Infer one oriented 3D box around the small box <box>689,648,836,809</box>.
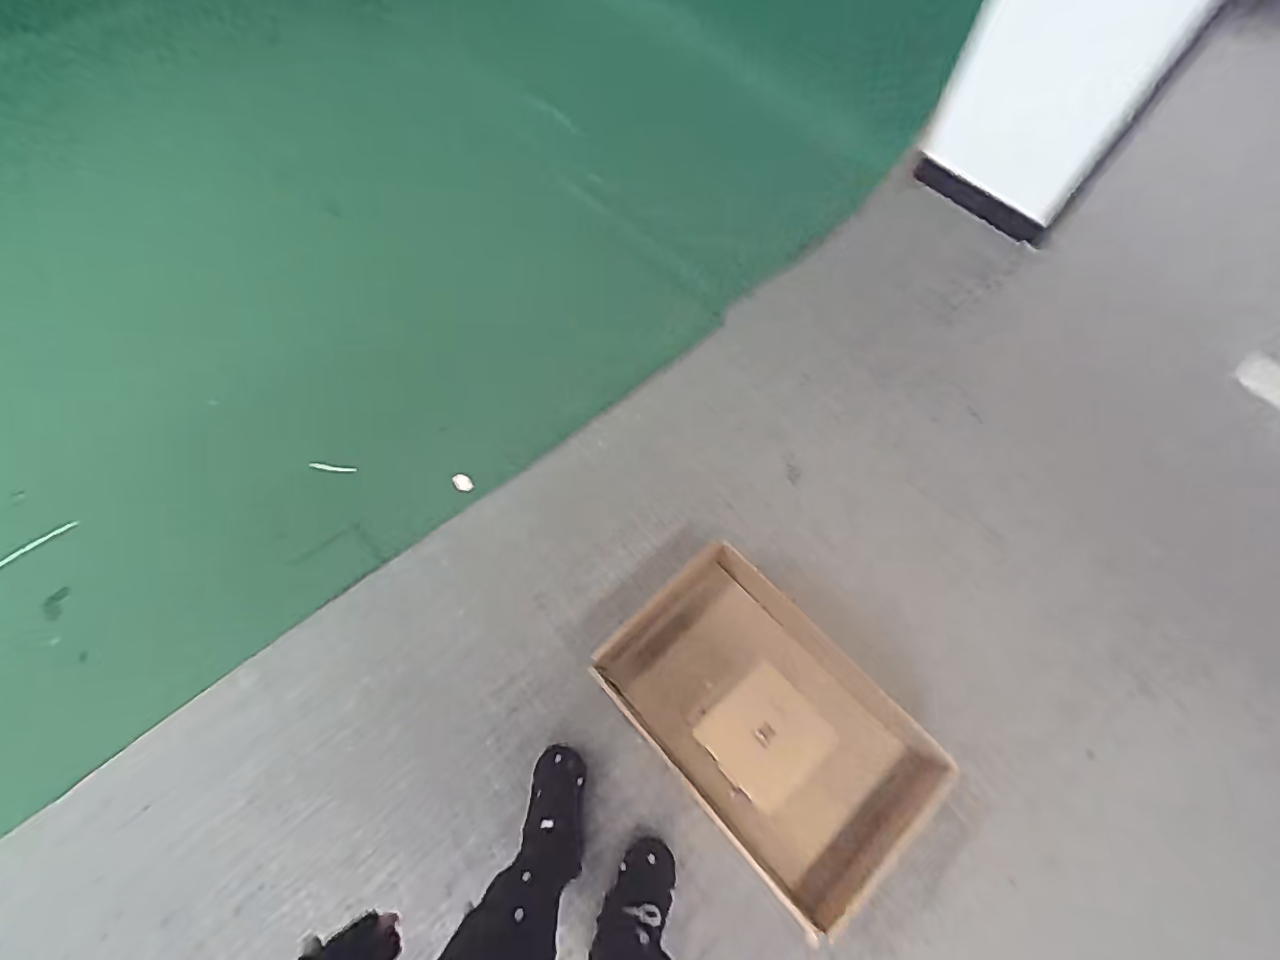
[{"bbox_3d":[0.200,0.420,0.930,0.168,0.176,0.179,41,74,17],"label":"small box"}]
